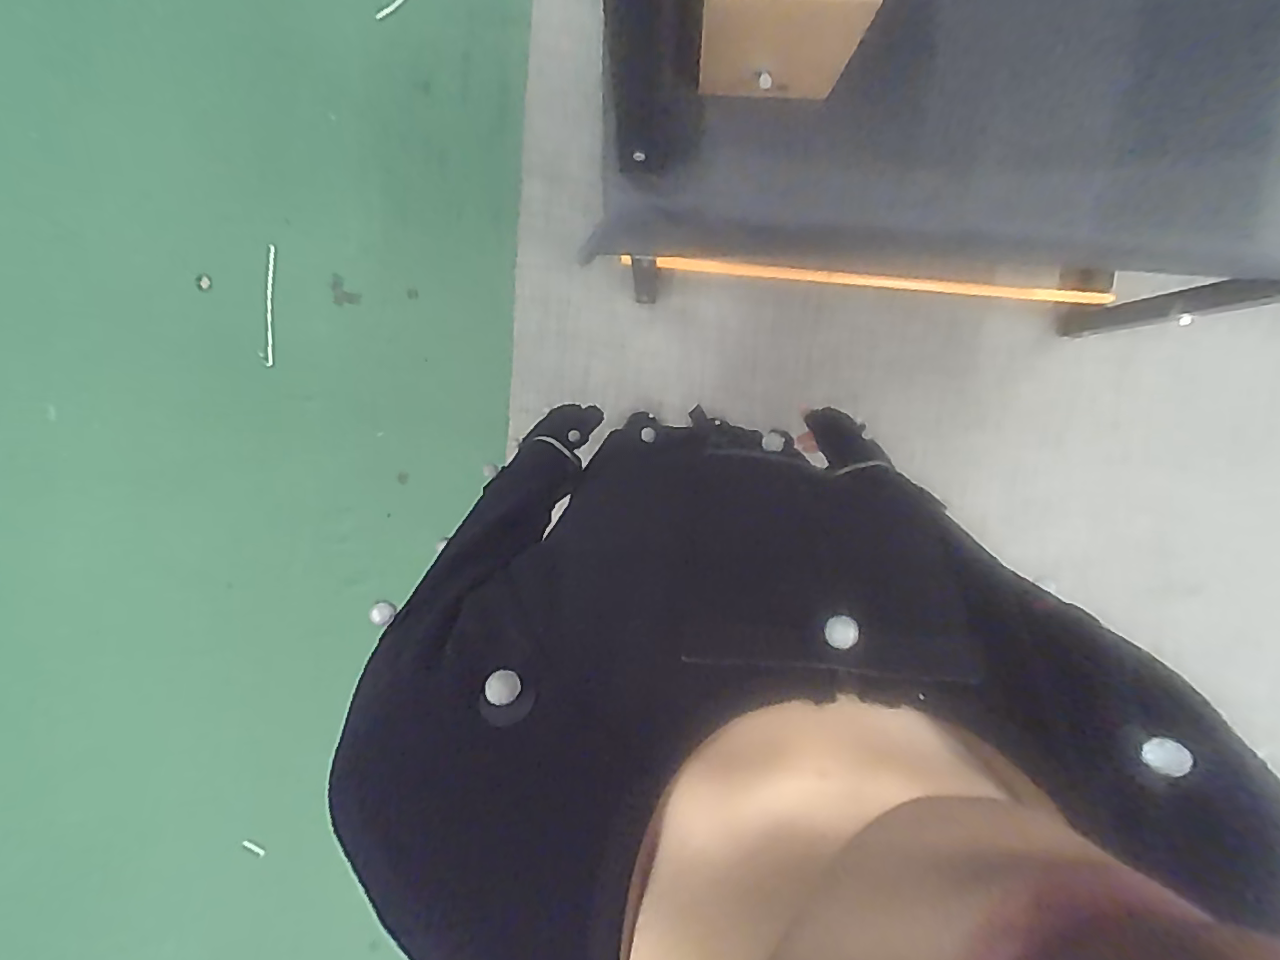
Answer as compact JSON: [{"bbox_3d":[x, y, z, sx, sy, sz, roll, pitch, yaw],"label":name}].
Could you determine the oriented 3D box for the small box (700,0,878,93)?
[{"bbox_3d":[0.157,-0.565,0.586,0.168,0.176,0.179,2,97,1],"label":"small box"}]
